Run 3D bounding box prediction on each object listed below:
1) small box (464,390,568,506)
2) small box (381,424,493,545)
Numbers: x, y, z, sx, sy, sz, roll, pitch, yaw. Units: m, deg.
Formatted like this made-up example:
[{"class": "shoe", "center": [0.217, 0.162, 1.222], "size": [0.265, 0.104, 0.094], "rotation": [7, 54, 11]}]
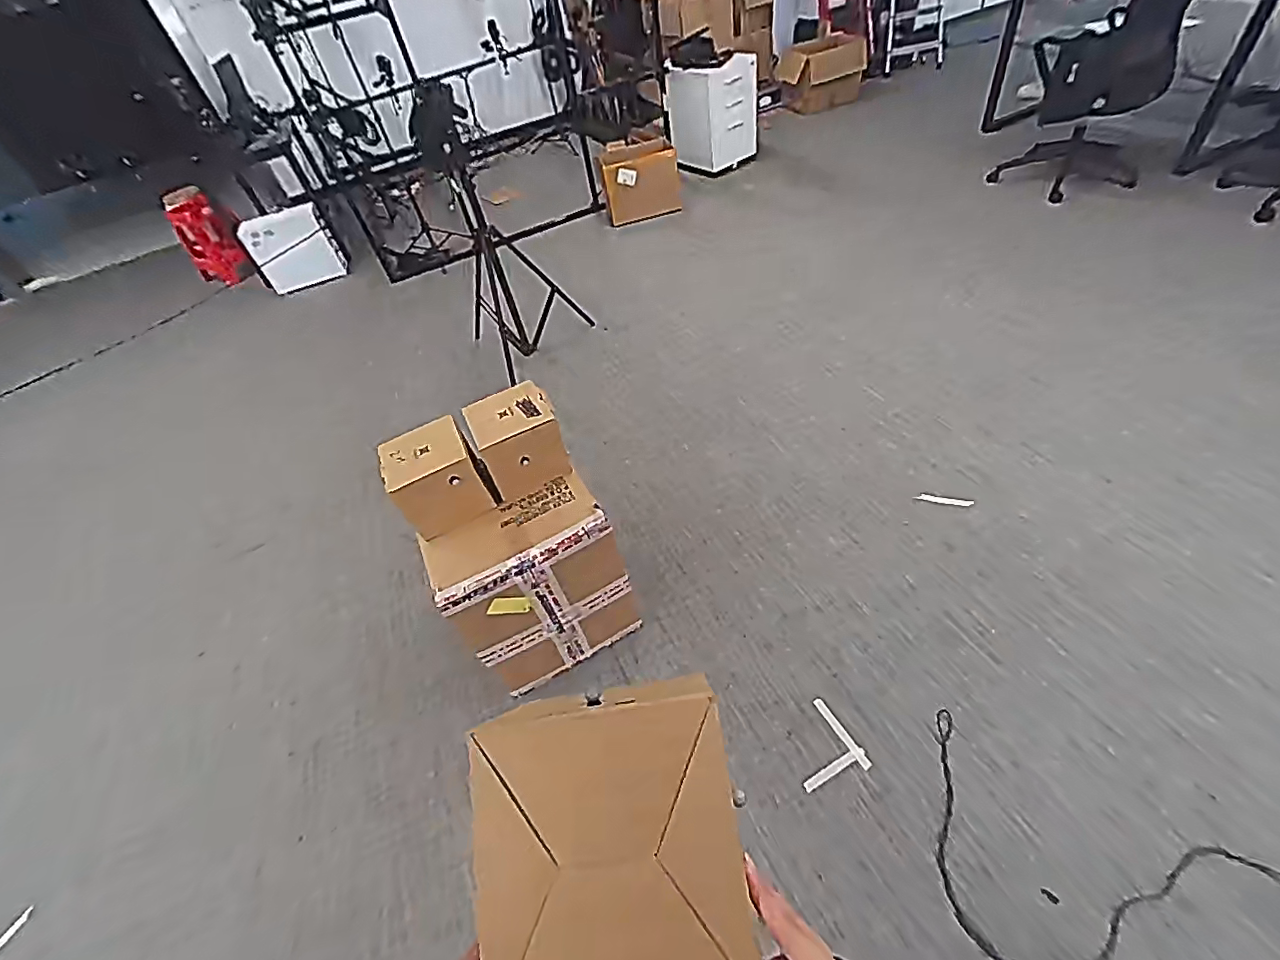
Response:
[{"class": "small box", "center": [-0.279, -0.072, 1.251], "size": [0.179, 0.176, 0.168], "rotation": [-25, 48, -12]}, {"class": "small box", "center": [-0.445, 0.011, 1.209], "size": [0.179, 0.176, 0.168], "rotation": [-27, 48, -9]}]
